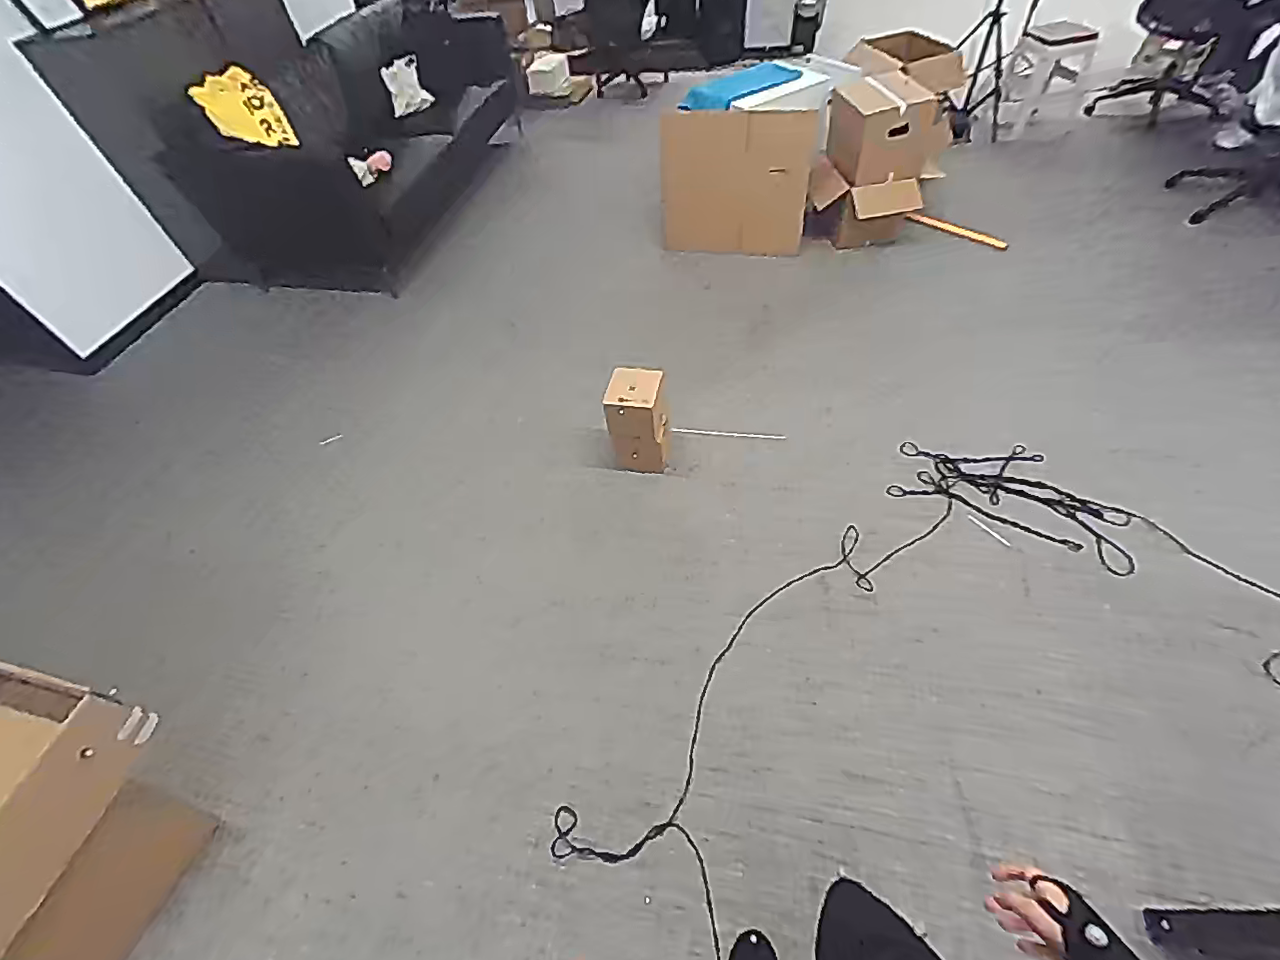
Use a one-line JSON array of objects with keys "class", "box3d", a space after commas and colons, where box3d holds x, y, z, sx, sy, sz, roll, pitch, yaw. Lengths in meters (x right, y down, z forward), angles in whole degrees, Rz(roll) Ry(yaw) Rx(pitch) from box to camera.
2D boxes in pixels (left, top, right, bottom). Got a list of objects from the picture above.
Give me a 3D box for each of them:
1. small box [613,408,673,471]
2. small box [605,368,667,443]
[{"class": "small box", "box3d": [0.017, -0.146, 1.923, 0.179, 0.176, 0.168, 5, 52, 12]}, {"class": "small box", "box3d": [-0.006, -0.248, 1.797, 0.168, 0.176, 0.179, 7, 52, 13]}]
